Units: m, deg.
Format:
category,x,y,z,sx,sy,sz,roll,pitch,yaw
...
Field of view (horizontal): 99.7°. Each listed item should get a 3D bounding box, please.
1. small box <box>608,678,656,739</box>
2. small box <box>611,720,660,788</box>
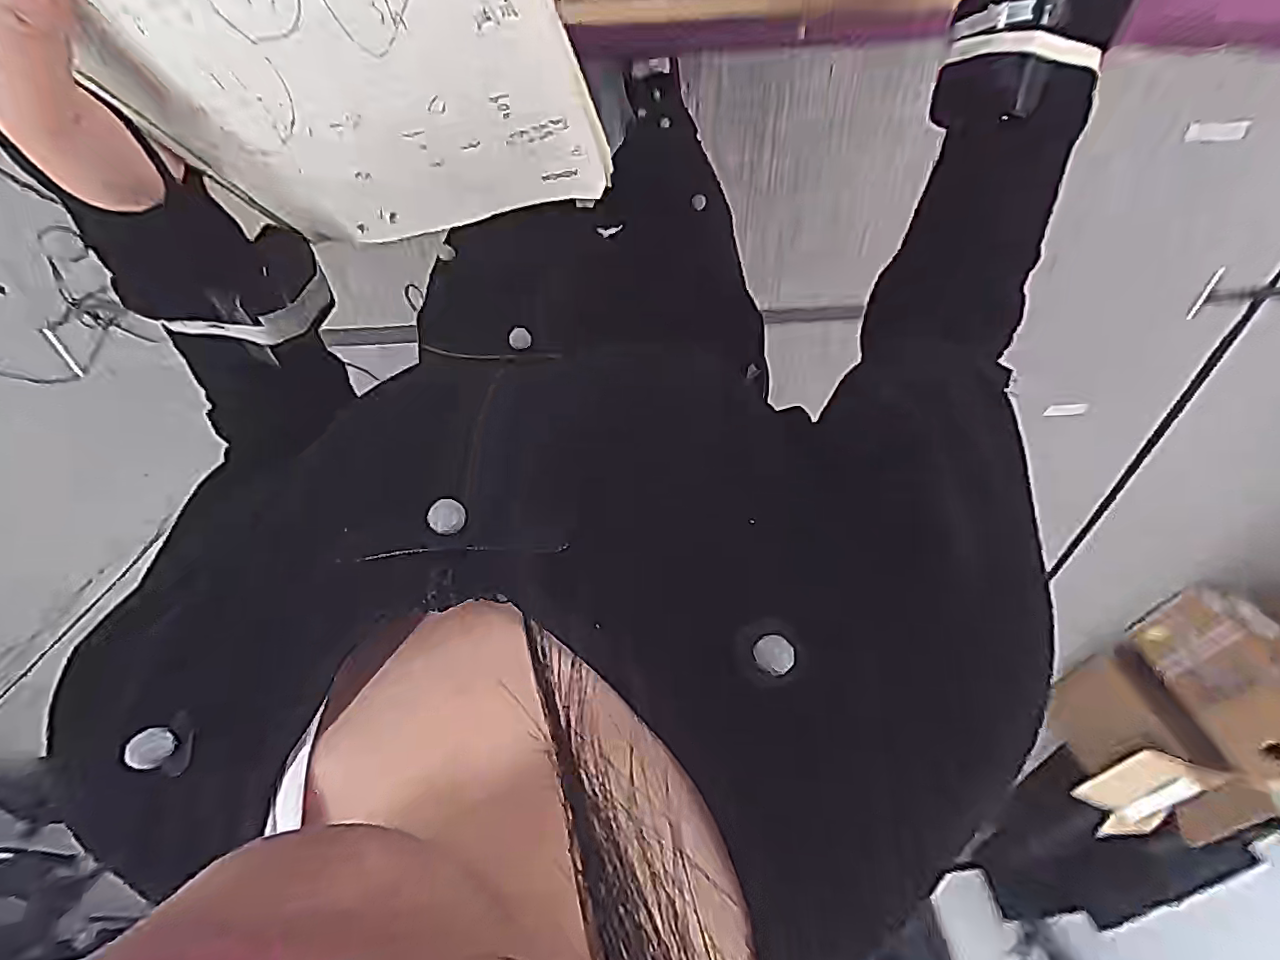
category,x,y,z,sx,sy,sz,roll,pitch,yaw
small box,-0.036,0.877,2.084,0.168,0.176,0.179,-1,131,-7
small box,-0.020,0.991,1.967,0.168,0.176,0.179,-3,130,-4
